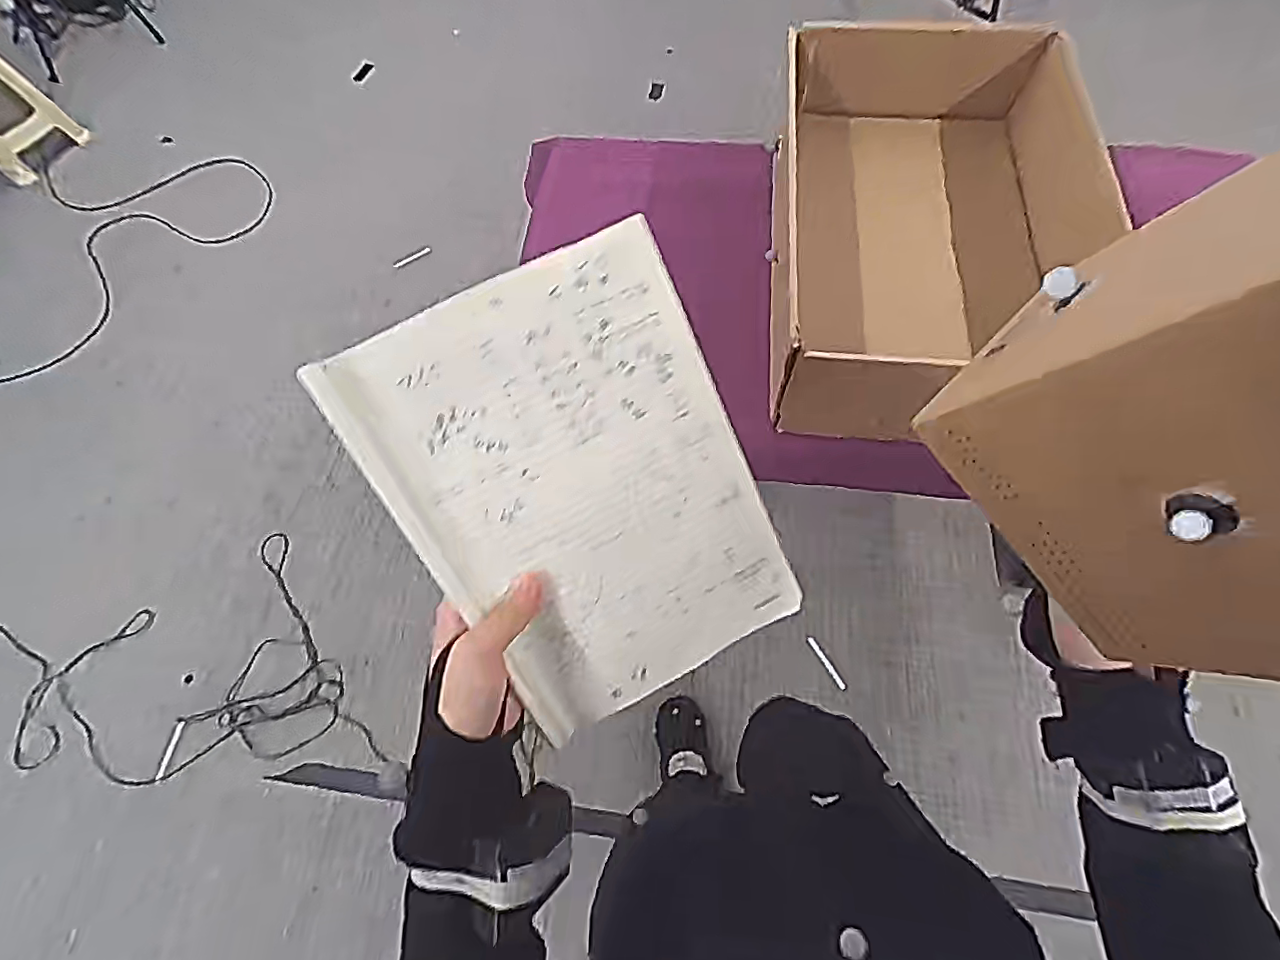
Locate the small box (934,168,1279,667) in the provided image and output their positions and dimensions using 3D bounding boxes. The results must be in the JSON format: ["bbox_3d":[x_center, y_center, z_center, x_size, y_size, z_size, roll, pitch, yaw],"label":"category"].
[{"bbox_3d":[0.286,-0.031,0.243,0.168,0.176,0.179,-39,89,-18],"label":"small box"}]
